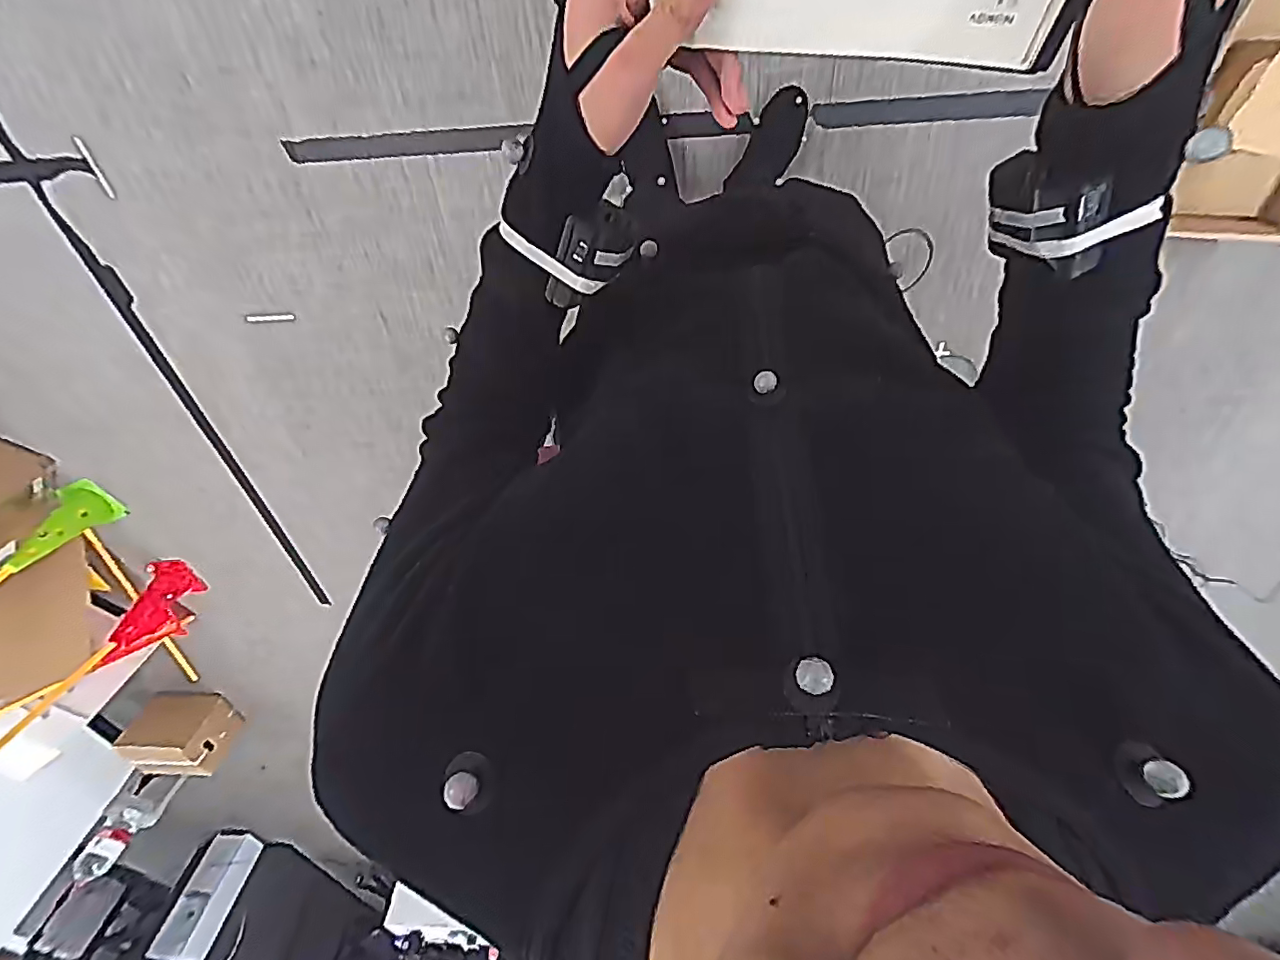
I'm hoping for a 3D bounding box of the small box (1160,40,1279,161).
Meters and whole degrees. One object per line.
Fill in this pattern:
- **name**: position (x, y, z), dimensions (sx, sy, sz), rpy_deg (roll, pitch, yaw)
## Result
- **small box**: position (1.220, -0.753, 1.079), dimensions (0.179, 0.176, 0.168), rpy_deg (10, 128, -3)
